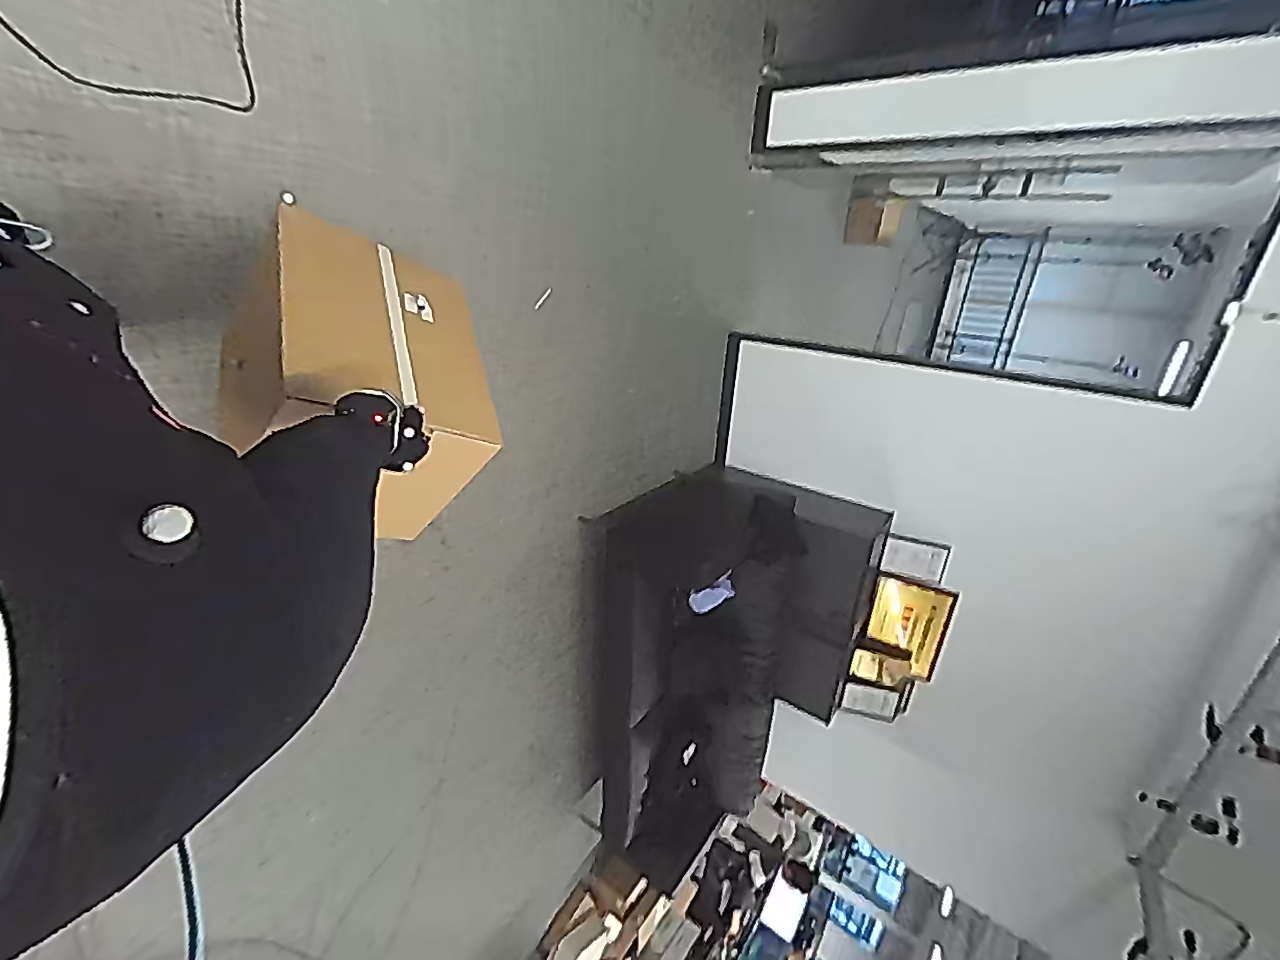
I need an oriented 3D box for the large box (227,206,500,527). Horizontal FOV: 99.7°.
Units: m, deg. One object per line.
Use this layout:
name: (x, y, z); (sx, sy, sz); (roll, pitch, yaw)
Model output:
large box: (-0.495, -0.166, 0.940); (0.320, 0.408, 0.320); (12, 137, -47)
